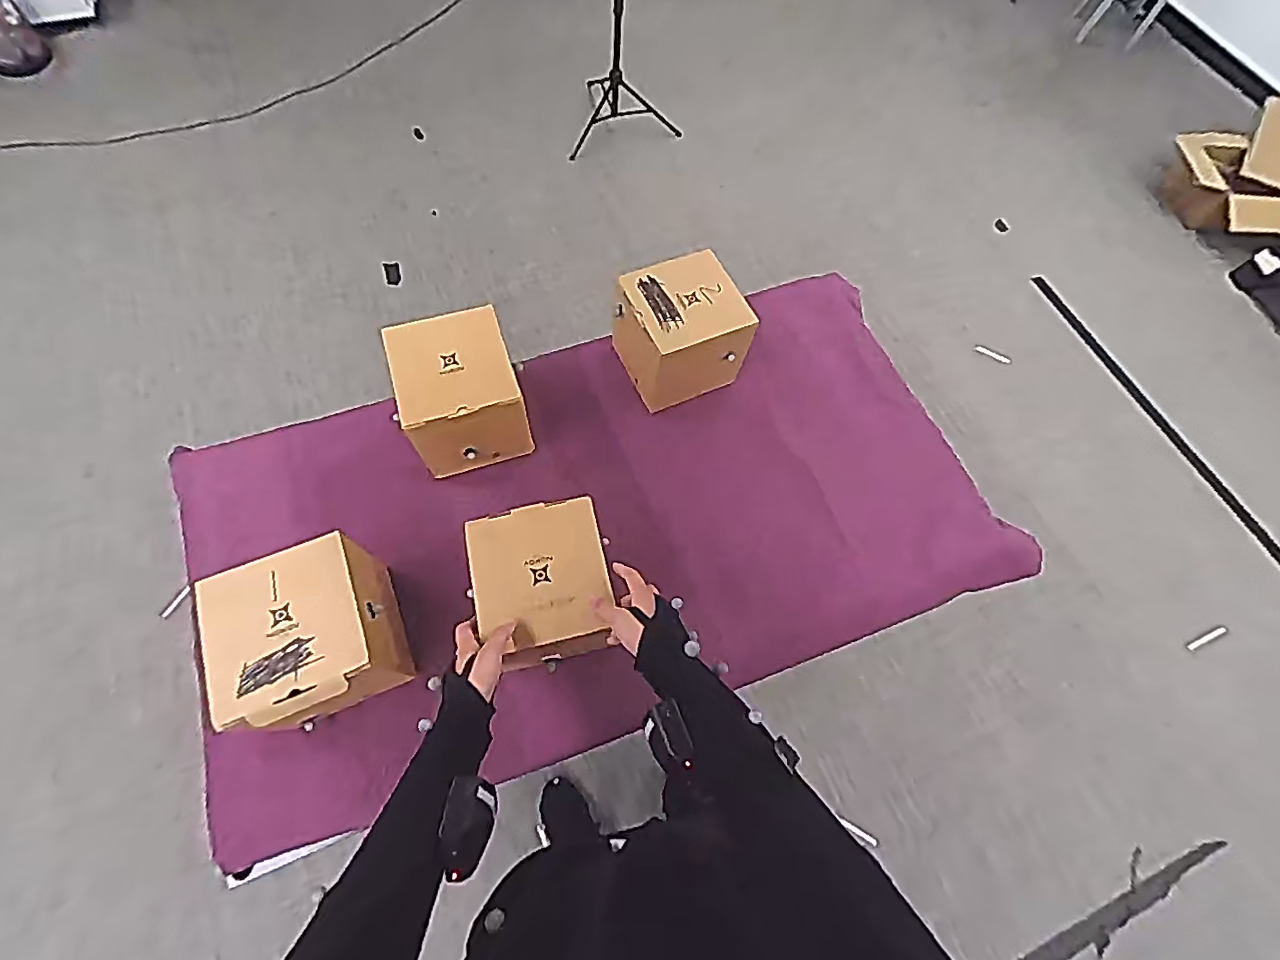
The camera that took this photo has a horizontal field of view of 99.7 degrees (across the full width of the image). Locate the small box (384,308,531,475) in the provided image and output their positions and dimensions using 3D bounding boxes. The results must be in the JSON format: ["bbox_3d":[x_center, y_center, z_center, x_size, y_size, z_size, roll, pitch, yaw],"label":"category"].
[{"bbox_3d":[-0.276,-0.133,0.844,0.168,0.176,0.179,-17,69,-12],"label":"small box"}]

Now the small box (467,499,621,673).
[{"bbox_3d":[-0.127,0.149,0.736,0.168,0.176,0.179,-12,67,-9],"label":"small box"}]

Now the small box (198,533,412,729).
[{"bbox_3d":[-0.414,0.197,0.693,0.168,0.176,0.179,-21,68,-13],"label":"small box"}]
